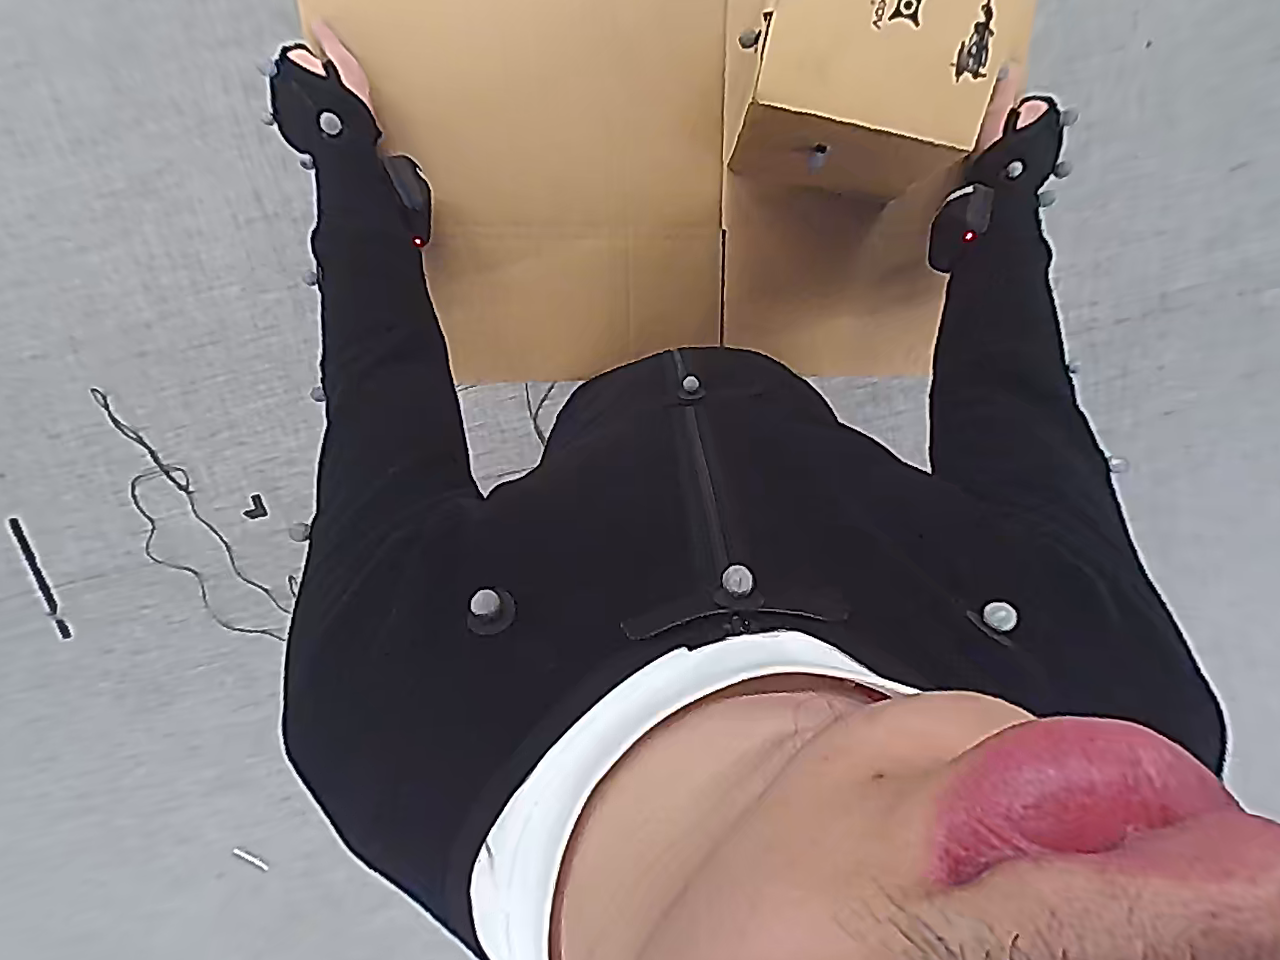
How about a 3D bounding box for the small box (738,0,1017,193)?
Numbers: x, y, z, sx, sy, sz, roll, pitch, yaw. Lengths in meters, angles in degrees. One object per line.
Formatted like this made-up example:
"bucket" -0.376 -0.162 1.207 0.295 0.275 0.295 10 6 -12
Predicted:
"small box" 0.192 -0.372 0.474 0.179 0.176 0.168 13 105 1
